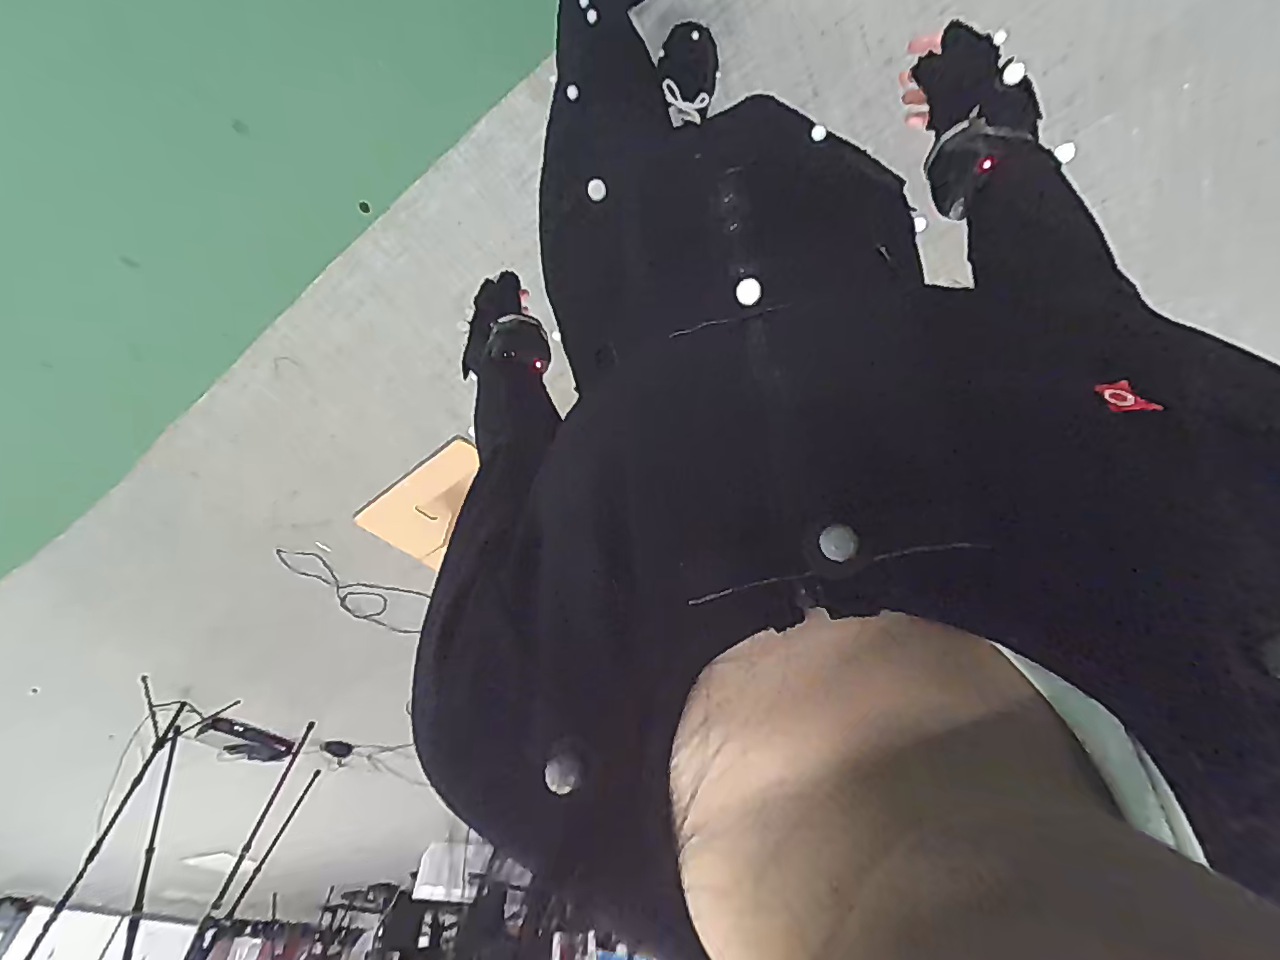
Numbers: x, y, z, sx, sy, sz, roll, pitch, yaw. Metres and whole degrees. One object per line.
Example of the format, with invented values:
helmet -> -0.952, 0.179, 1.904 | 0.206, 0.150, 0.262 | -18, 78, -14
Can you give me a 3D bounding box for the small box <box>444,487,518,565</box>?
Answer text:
small box -> -0.544, 0.158, 1.877 | 0.179, 0.176, 0.168 | -32, 126, 25
